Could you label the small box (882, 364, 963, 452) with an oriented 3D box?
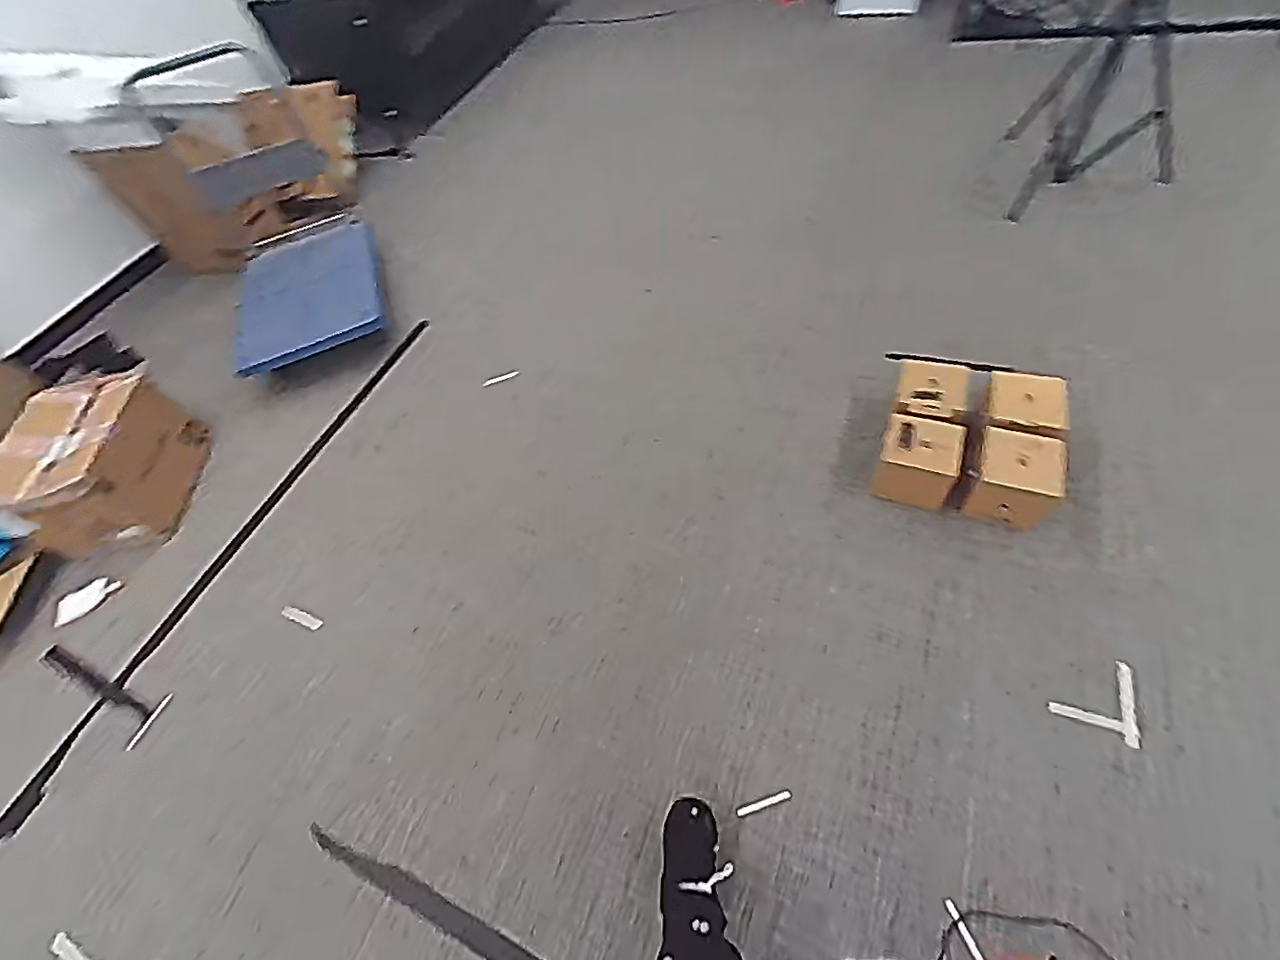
[{"bbox_3d":[0.806,-0.205,1.554,0.168,0.176,0.179,13,58,19],"label":"small box"}]
